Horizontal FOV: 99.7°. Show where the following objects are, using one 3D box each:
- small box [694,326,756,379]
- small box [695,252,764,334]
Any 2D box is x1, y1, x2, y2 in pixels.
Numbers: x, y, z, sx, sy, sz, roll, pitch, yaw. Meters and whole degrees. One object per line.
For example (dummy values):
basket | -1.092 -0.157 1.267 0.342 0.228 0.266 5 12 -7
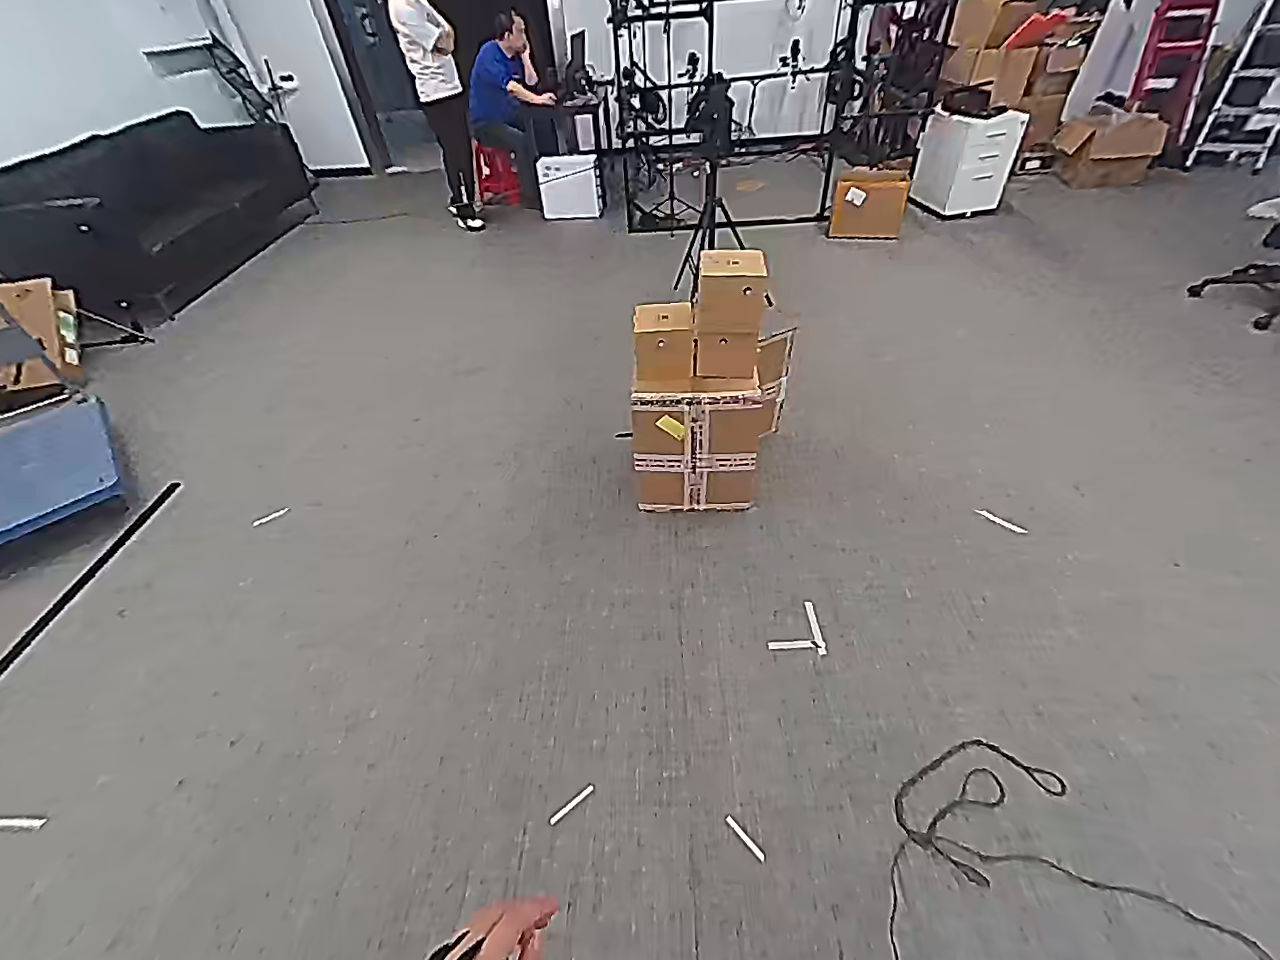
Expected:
small box | 0.259 -0.424 1.656 0.179 0.176 0.168 4 45 6
small box | 0.246 -0.524 1.524 0.179 0.176 0.168 1 44 5
